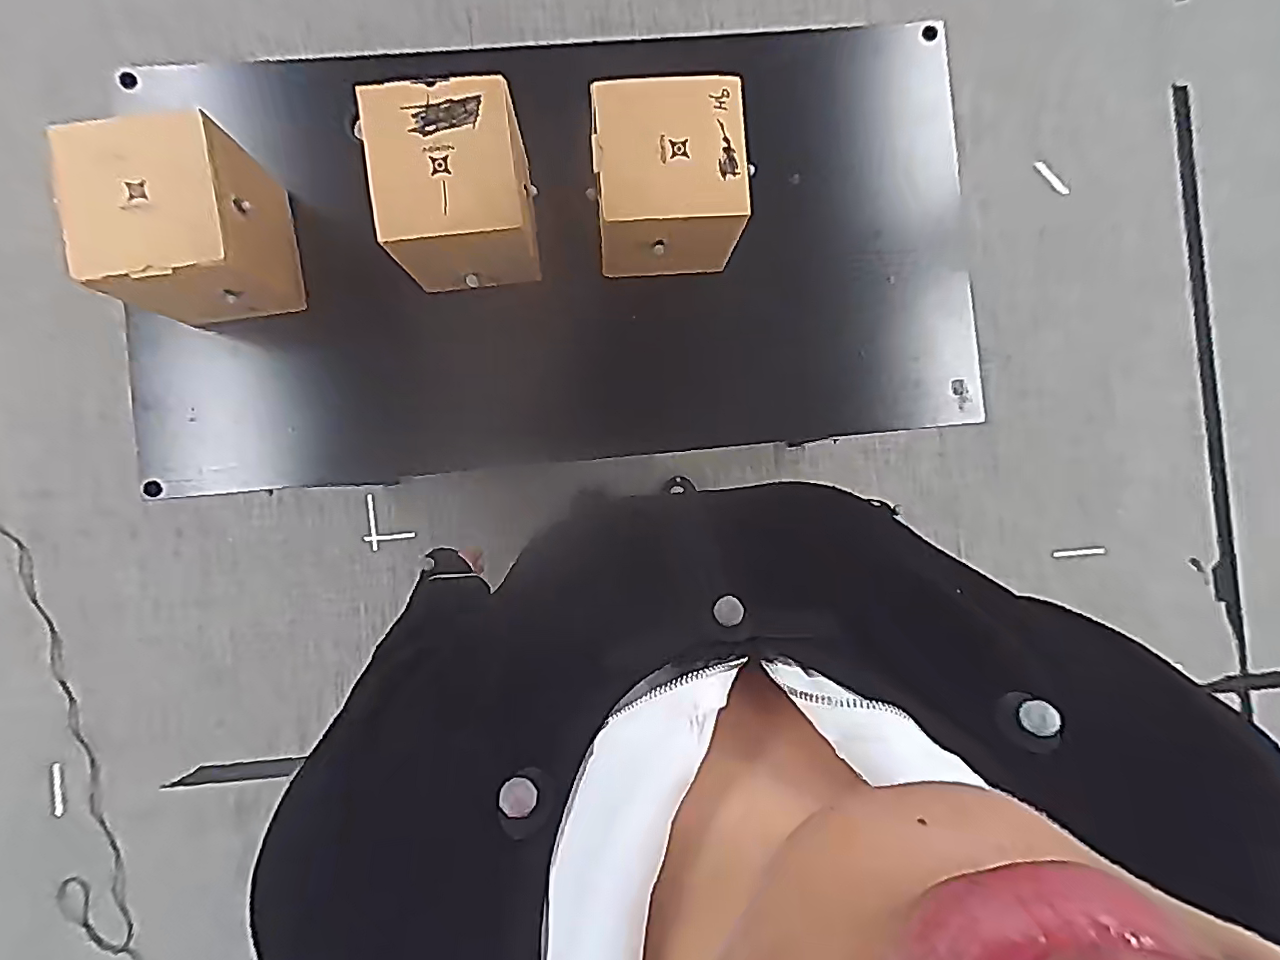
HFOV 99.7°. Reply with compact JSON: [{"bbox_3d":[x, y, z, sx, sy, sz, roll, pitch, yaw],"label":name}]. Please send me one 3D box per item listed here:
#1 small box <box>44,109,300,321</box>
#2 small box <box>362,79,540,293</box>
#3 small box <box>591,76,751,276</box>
[{"bbox_3d":[-0.553,-0.308,0.667,0.168,0.176,0.179,-10,89,-4],"label":"small box"},{"bbox_3d":[-0.225,-0.357,0.684,0.168,0.176,0.179,-7,91,-3],"label":"small box"},{"bbox_3d":[0.035,-0.375,0.697,0.179,0.176,0.168,-4,90,-2],"label":"small box"}]
